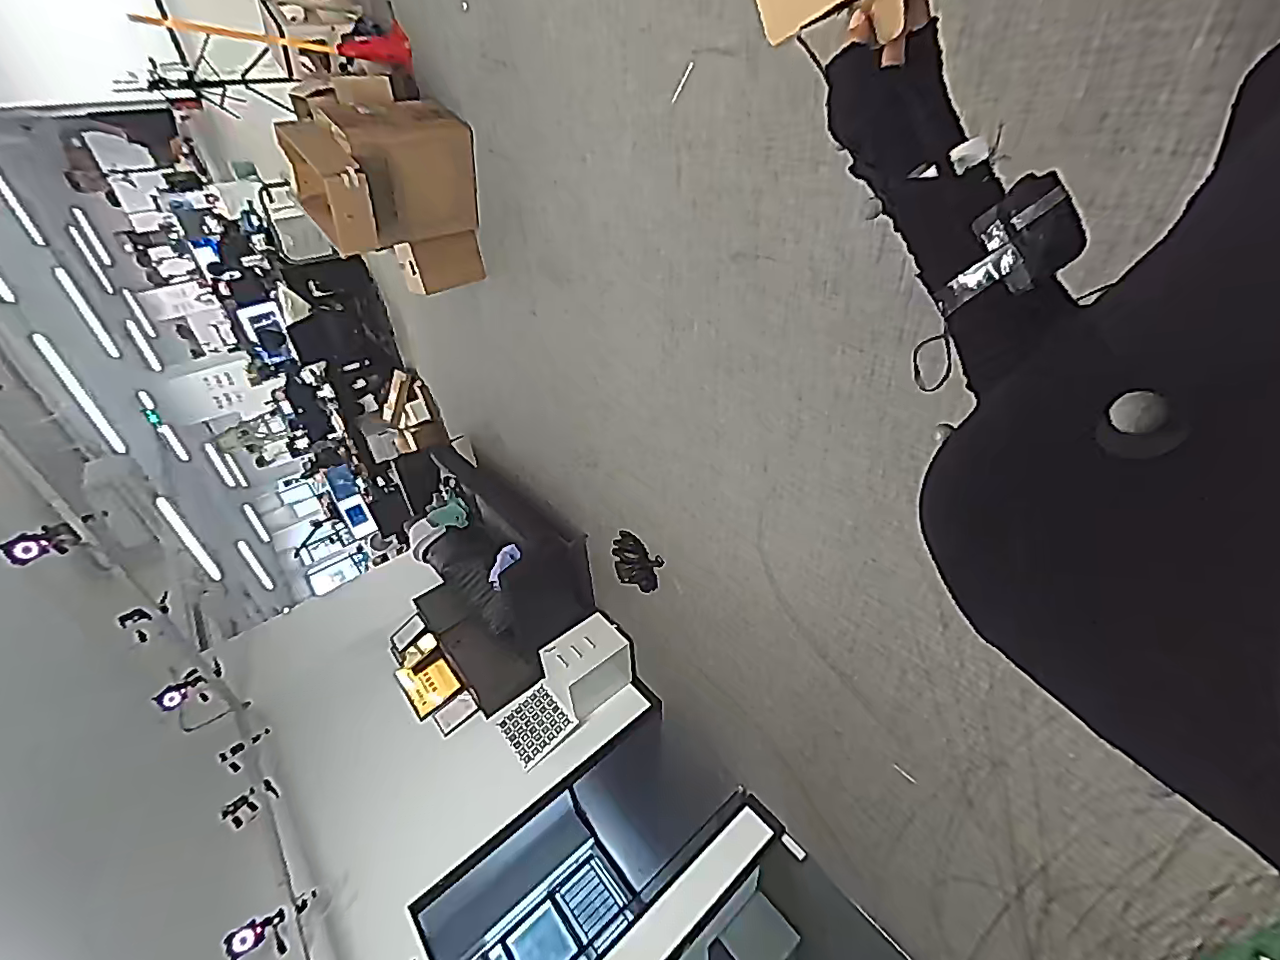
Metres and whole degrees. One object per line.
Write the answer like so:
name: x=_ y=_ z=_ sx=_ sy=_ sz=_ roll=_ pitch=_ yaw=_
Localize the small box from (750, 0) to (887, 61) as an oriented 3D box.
small box: x=0.171 y=-0.442 z=0.366 sx=0.168 sy=0.176 sz=0.179 roll=13 pitch=138 yaw=53
